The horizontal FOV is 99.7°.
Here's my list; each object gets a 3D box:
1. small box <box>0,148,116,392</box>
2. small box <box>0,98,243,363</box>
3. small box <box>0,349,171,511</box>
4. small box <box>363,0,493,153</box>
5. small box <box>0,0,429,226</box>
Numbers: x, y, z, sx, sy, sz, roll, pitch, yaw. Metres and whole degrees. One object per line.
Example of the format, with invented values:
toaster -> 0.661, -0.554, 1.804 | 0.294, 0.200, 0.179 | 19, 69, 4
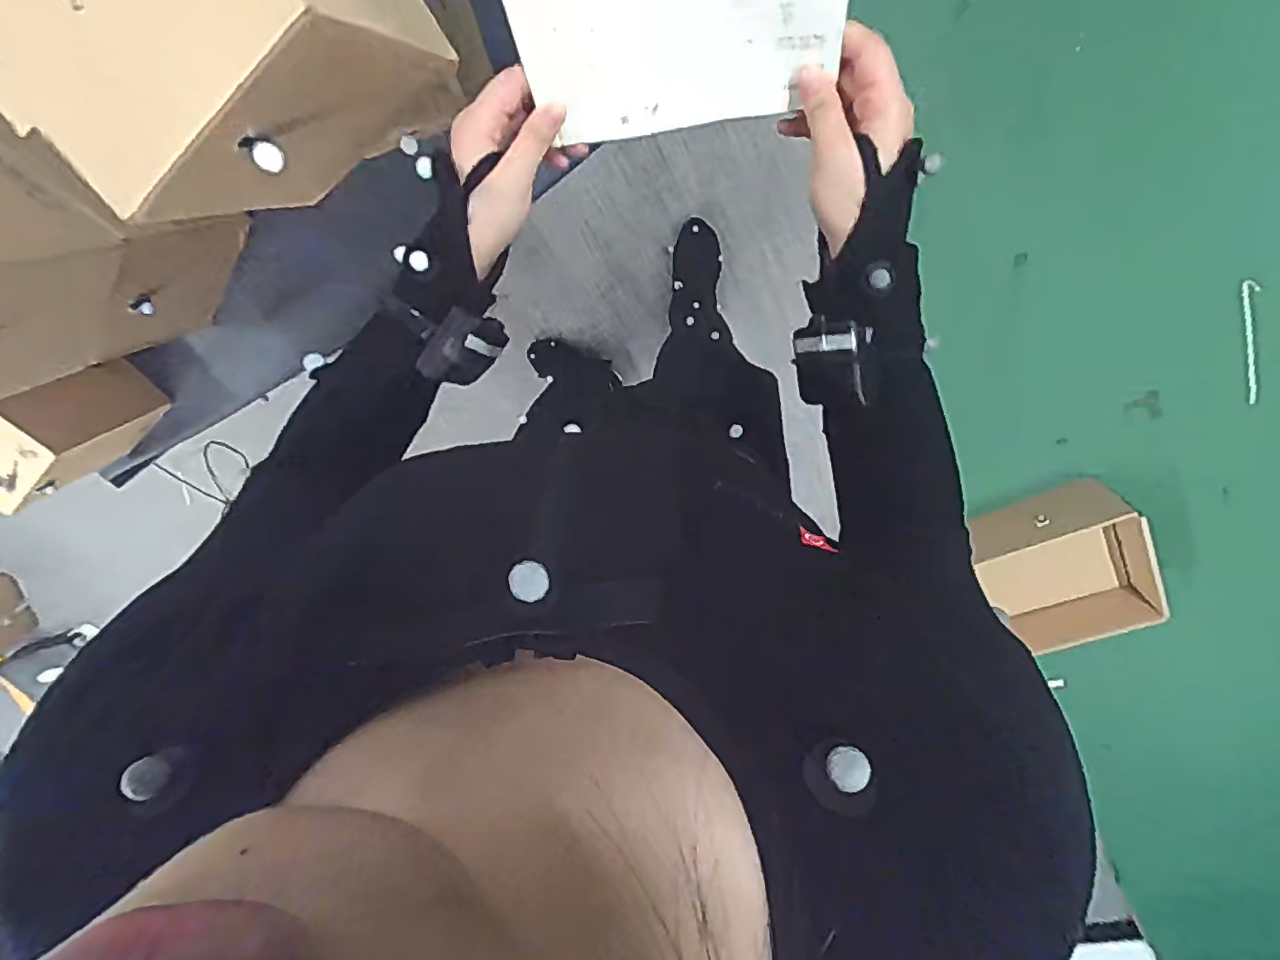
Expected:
small box -> -0.593, -0.173, 0.439 | 0.168, 0.176, 0.179 | 42, 118, -18
small box -> -0.575, -0.263, 0.575 | 0.168, 0.176, 0.179 | 39, 119, -17
small box -> -0.792, -0.099, 0.710 | 0.168, 0.176, 0.179 | -30, 114, 24
small box -> -0.249, -0.388, 0.446 | 0.168, 0.176, 0.179 | -10, 120, 15
small box -> -0.255, -0.284, 0.319 | 0.179, 0.176, 0.168 | -25, 115, 23
